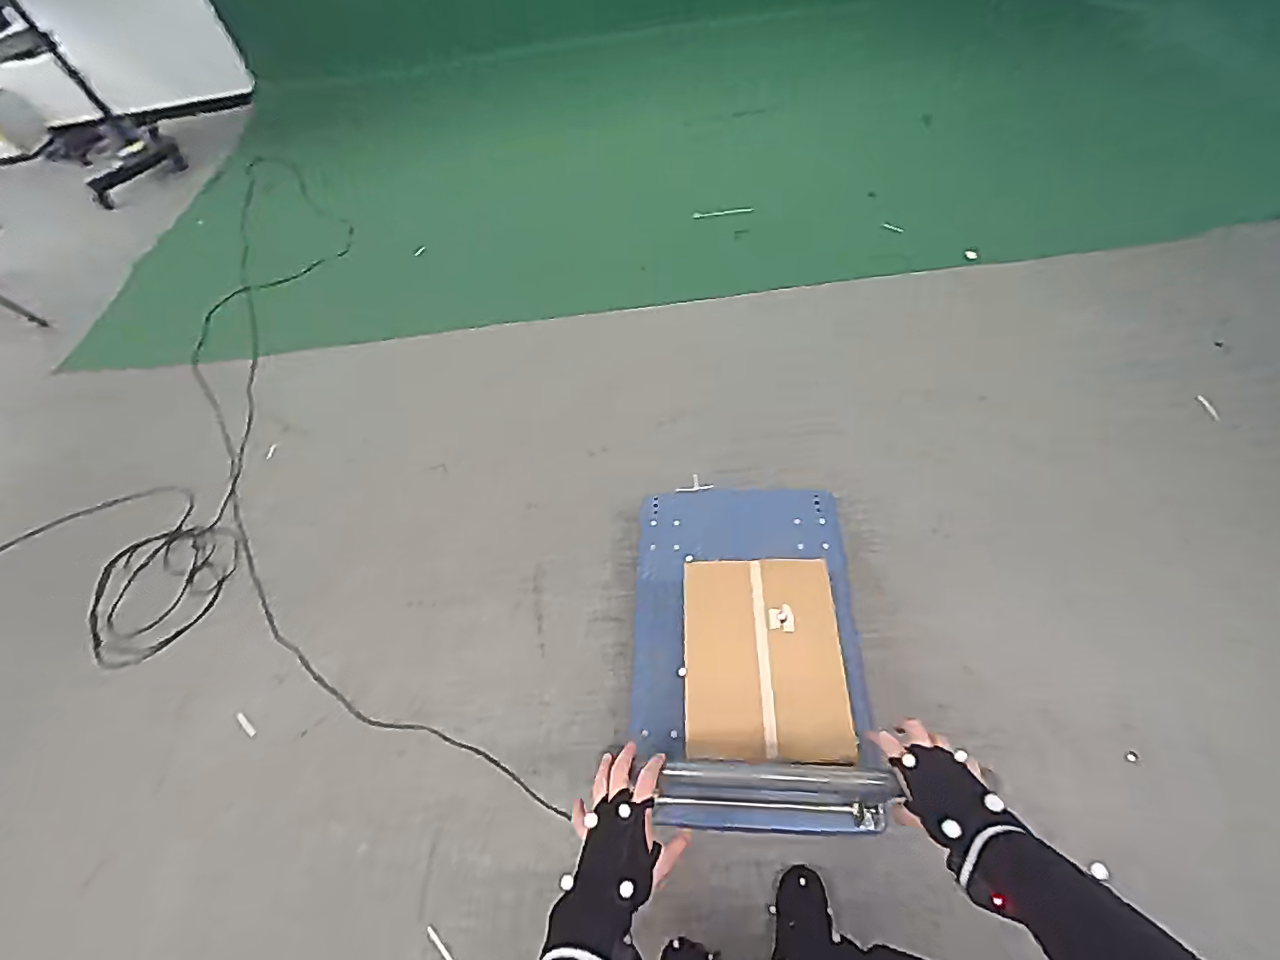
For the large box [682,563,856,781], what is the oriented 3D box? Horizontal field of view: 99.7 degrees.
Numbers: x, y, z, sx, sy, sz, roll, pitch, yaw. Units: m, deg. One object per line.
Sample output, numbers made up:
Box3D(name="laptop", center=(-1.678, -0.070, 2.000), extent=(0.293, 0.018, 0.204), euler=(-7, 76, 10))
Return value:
Box3D(name="large box", center=(0.261, 0.438, 1.219), extent=(0.320, 0.320, 0.408), euler=(-2, 56, 6))
